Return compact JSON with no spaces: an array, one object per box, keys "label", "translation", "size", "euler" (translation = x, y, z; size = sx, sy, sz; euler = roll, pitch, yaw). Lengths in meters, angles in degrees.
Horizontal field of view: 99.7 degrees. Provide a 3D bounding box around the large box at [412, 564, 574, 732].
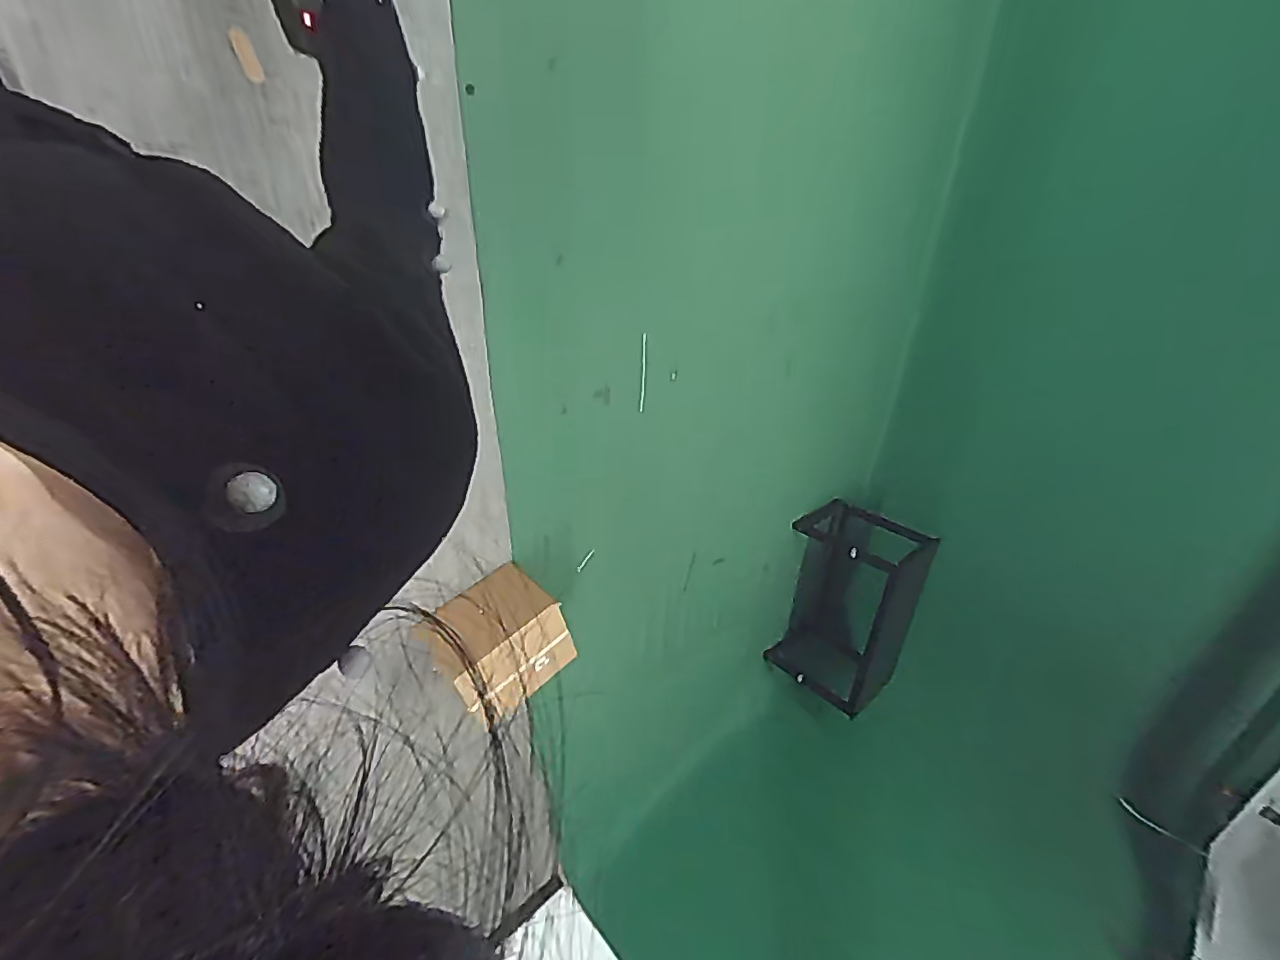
[{"label":"large box","translation":[-0.510,0.577,1.909],"size":[0.408,0.320,0.320],"euler":[-36,134,-29]}]
